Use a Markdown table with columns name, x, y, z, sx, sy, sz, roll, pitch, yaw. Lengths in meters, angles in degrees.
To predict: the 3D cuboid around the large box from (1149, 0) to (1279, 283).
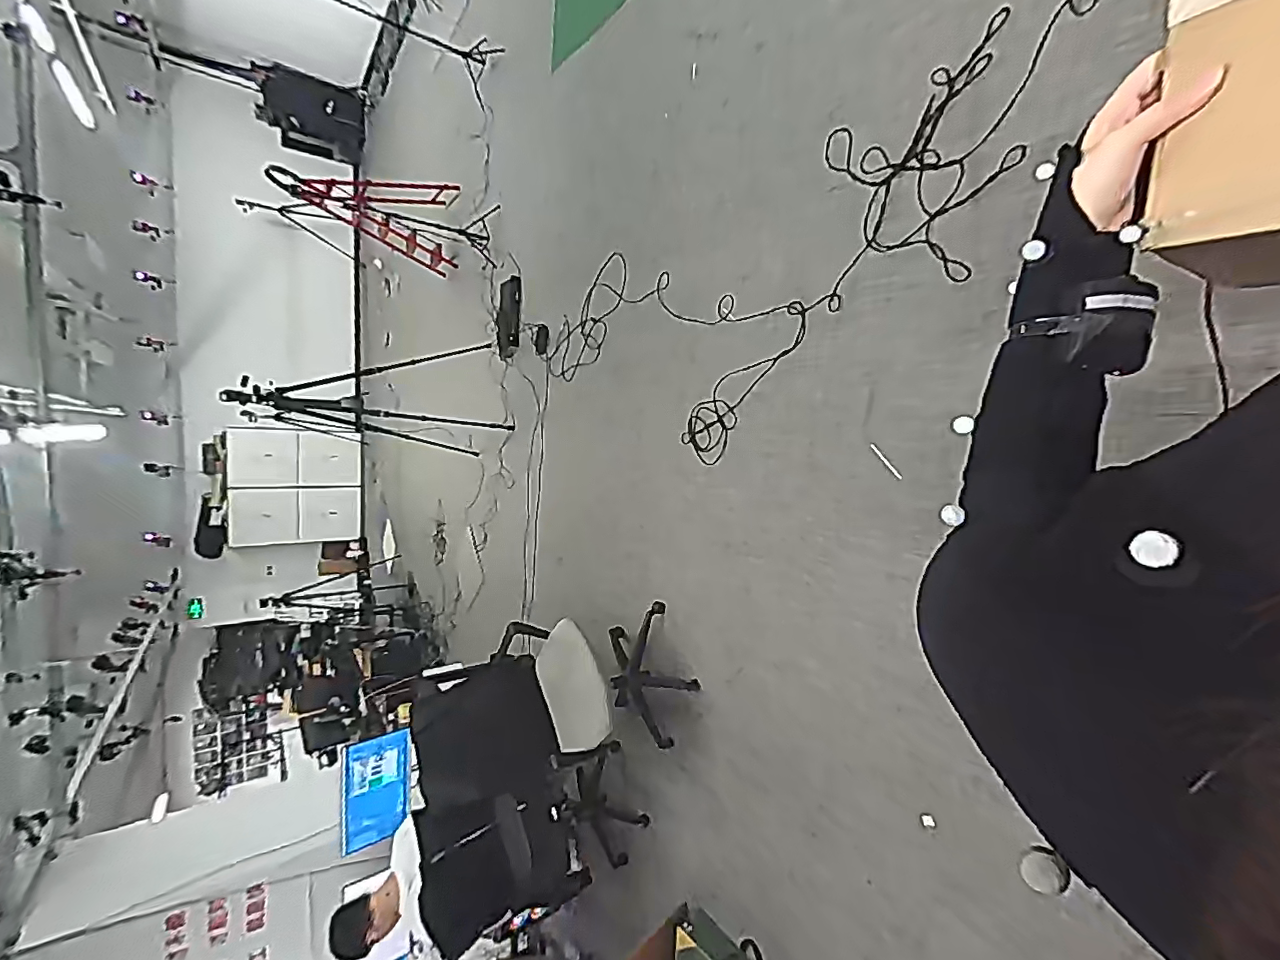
| name | x | y | z | sx | sy | sz | roll | pitch | yaw |
| --- | --- | --- | --- | --- | --- | --- | --- | --- | --- |
| large box | 0.620 | -0.316 | 0.307 | 0.408 | 0.320 | 0.320 | 13 | 106 | 55 |
